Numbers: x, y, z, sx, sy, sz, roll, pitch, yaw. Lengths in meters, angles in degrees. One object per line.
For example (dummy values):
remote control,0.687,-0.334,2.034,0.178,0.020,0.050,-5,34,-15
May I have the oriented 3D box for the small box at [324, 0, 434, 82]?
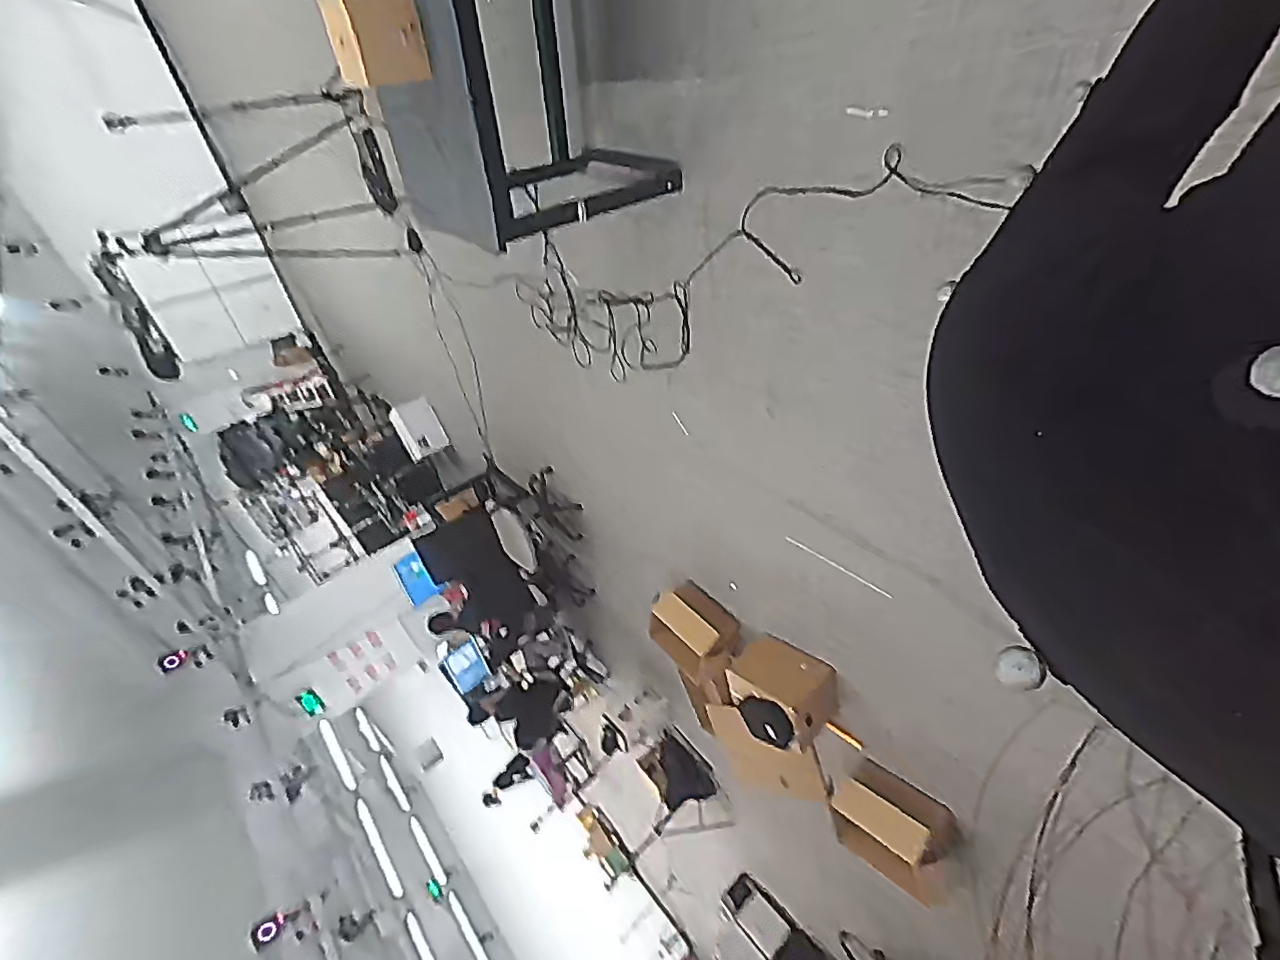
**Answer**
small box,-0.635,-1.089,1.324,0.179,0.176,0.168,35,144,35
